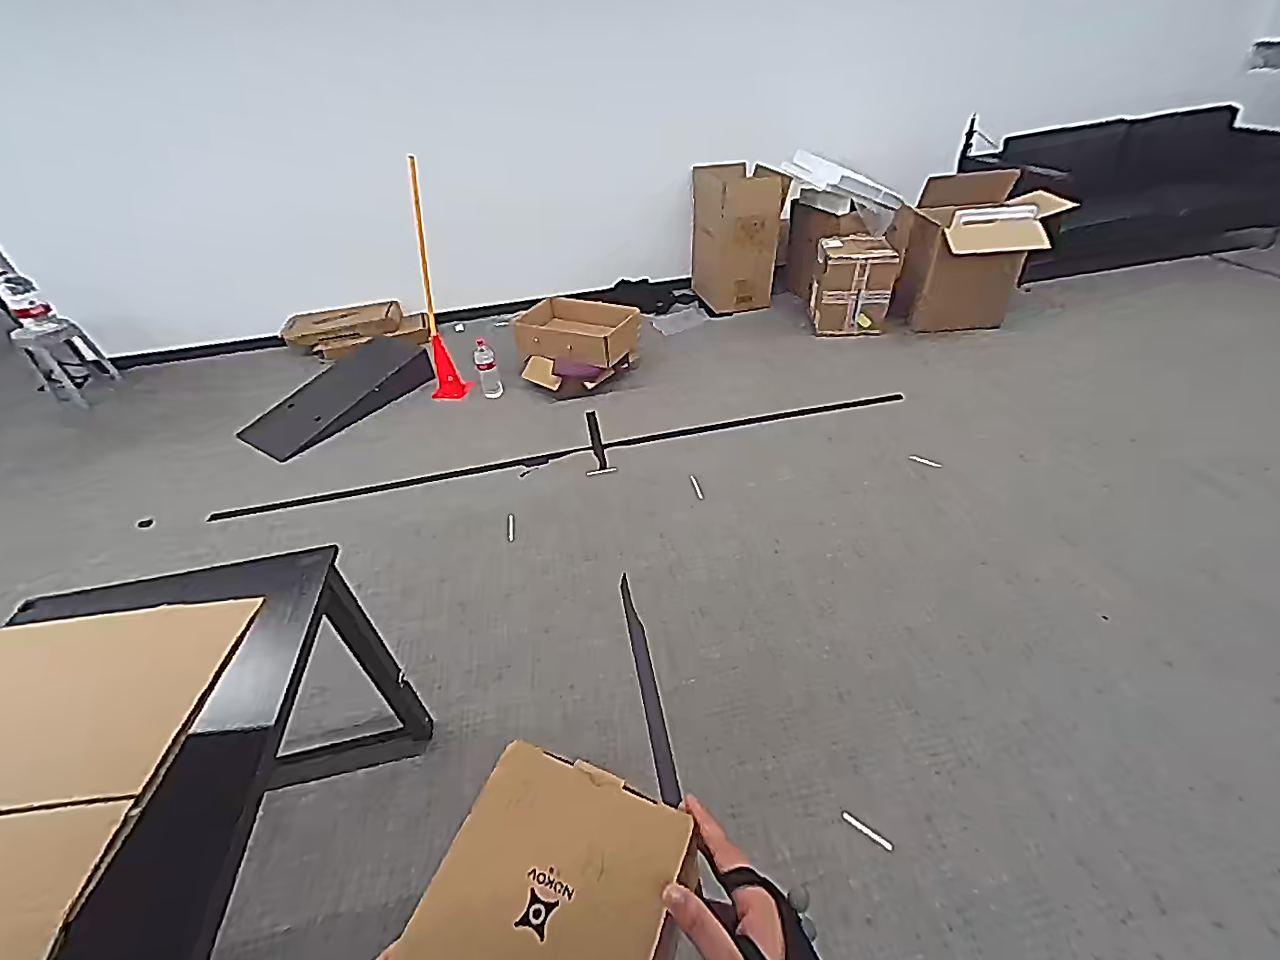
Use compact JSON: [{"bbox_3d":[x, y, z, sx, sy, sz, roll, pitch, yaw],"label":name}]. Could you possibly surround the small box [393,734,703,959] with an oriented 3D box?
[{"bbox_3d":[-0.054,0.350,0.437,0.168,0.176,0.179,12,45,20],"label":"small box"}]
